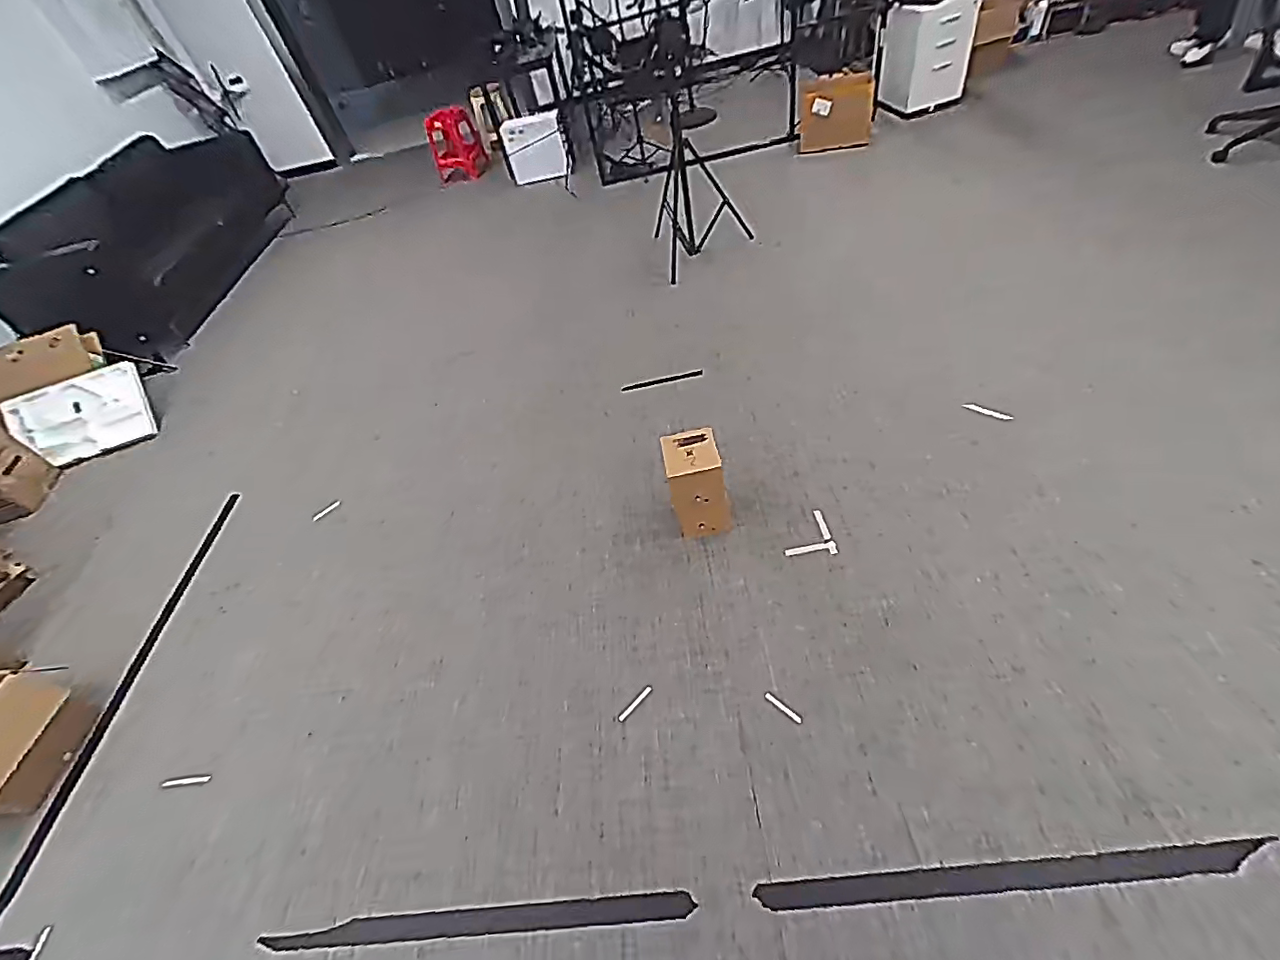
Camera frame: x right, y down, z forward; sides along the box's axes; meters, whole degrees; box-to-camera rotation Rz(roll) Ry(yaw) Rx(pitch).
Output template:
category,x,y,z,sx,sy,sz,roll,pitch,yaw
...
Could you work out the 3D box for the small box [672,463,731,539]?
category,x,y,z,sx,sy,sz,roll,pitch,yaw
small box,0.208,0.073,1.825,0.168,0.176,0.179,-11,48,4
